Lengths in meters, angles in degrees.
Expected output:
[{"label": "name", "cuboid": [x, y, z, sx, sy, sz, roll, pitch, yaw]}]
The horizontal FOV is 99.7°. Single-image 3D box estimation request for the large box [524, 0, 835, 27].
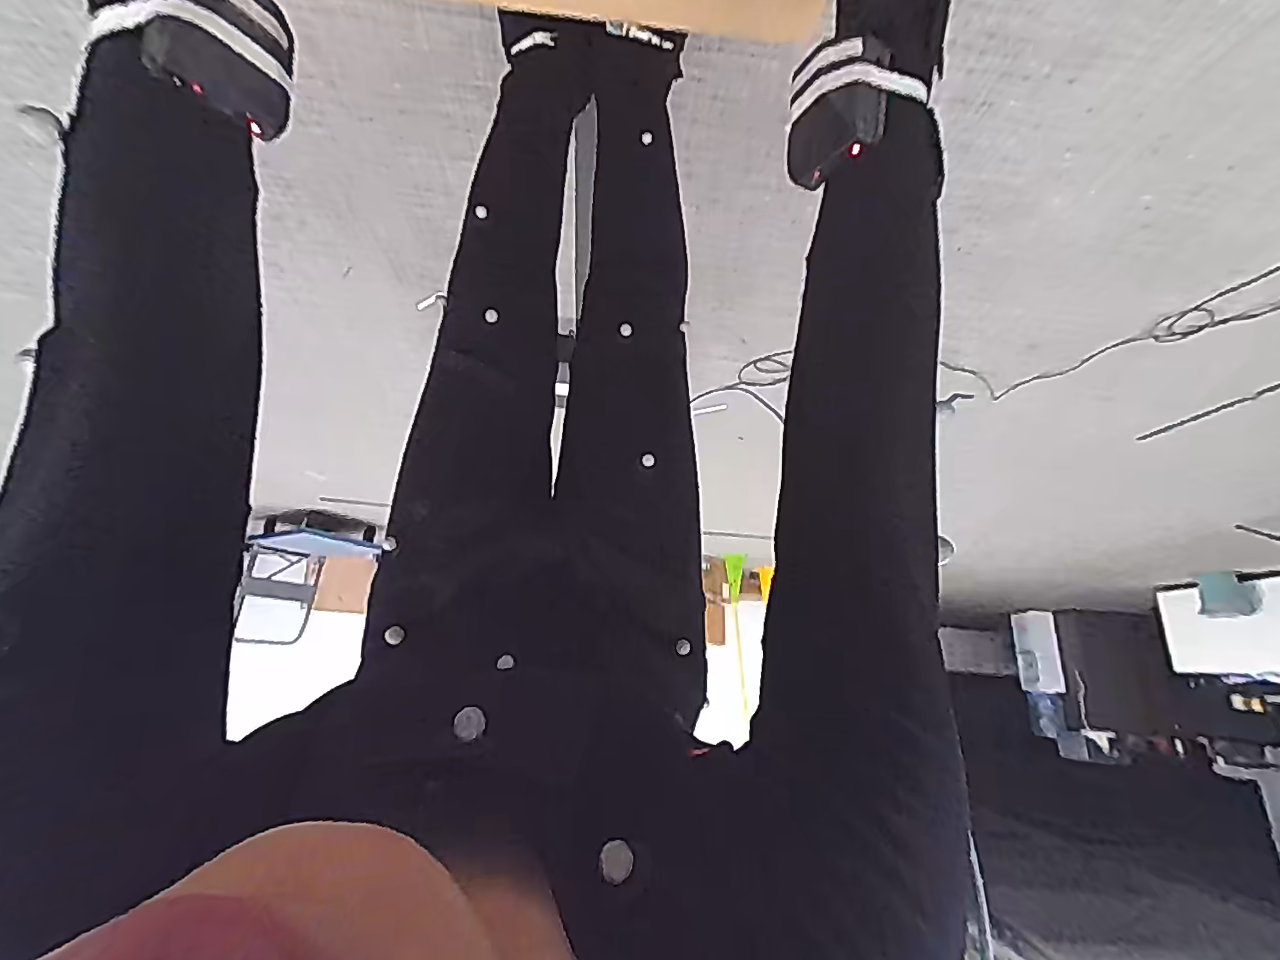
[{"label": "large box", "cuboid": [-0.036, -0.563, 0.332, 0.408, 0.320, 0.320, 3, 161, -3]}]
